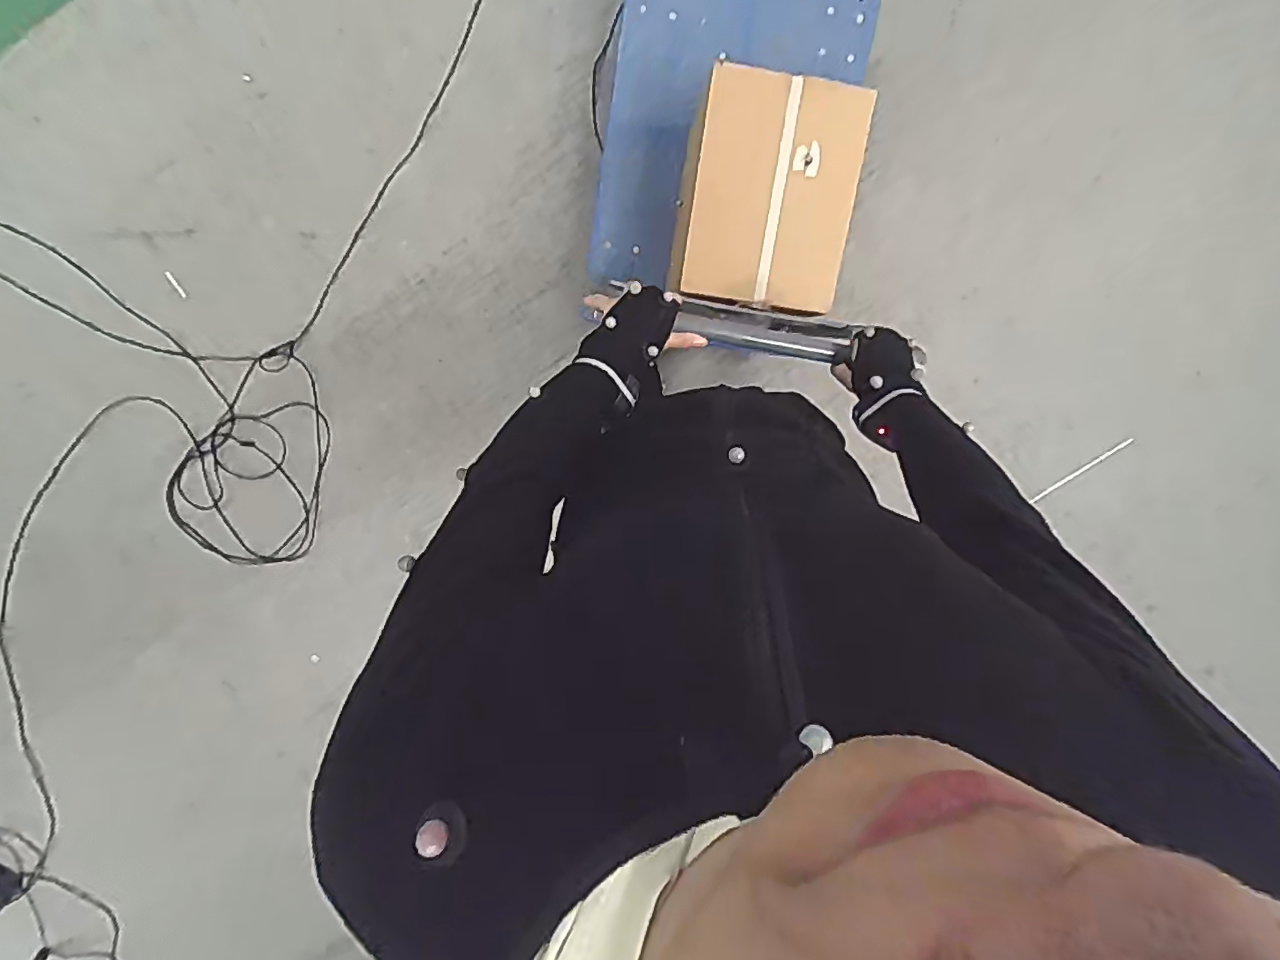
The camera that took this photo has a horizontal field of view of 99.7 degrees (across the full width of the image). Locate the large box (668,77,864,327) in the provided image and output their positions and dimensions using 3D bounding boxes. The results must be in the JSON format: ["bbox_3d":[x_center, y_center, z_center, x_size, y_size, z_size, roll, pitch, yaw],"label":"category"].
[{"bbox_3d":[0.248,-0.574,1.205,0.320,0.320,0.408,7,101,-5],"label":"large box"}]
